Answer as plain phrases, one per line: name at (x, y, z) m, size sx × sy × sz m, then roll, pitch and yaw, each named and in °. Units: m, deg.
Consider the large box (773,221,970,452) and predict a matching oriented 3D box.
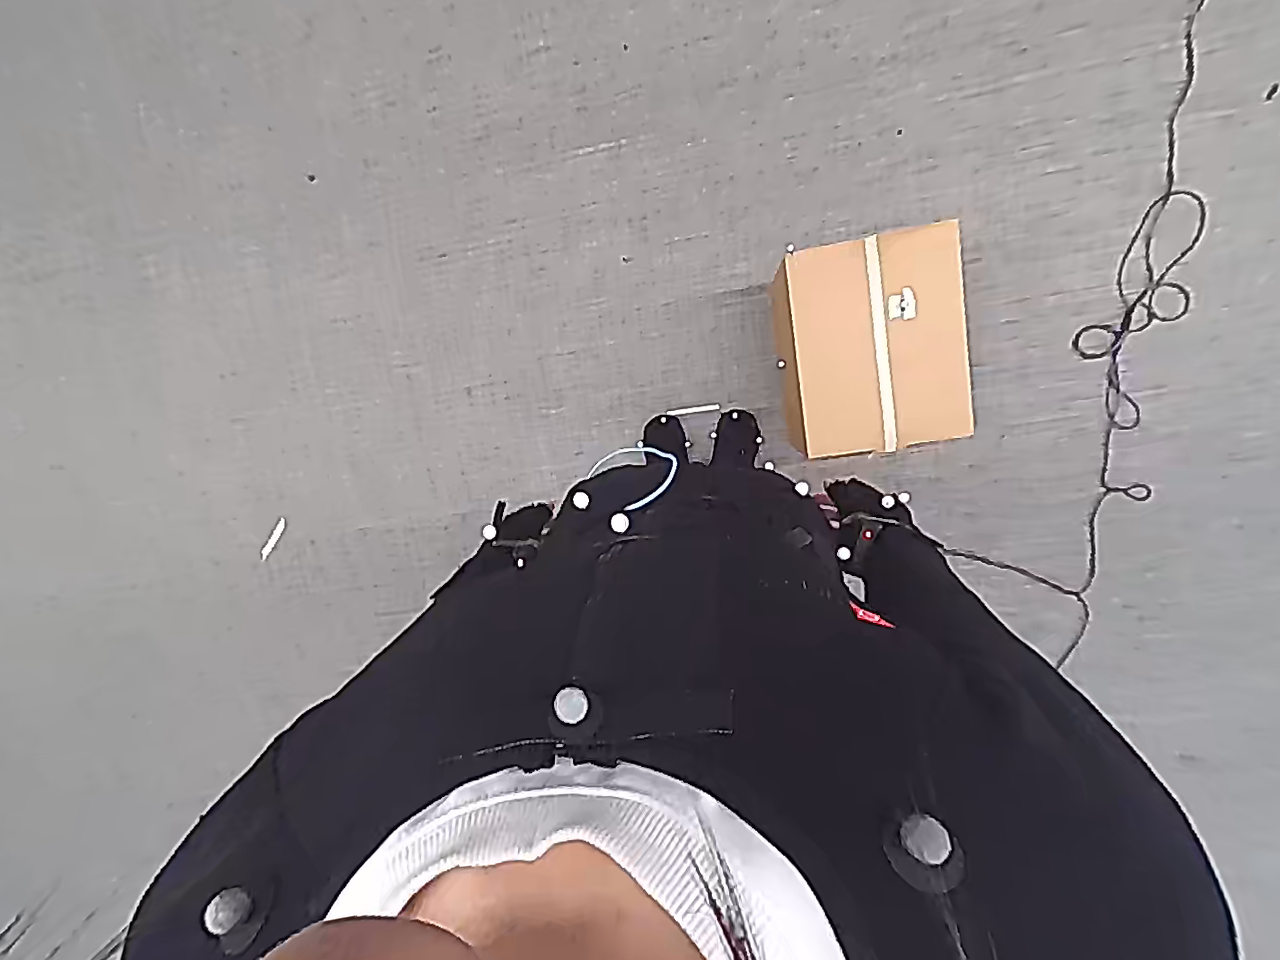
large box at (0.487, -0.292, 1.203) m, size 0.320 × 0.320 × 0.408 m, roll -8°, pitch 97°, yaw 9°
